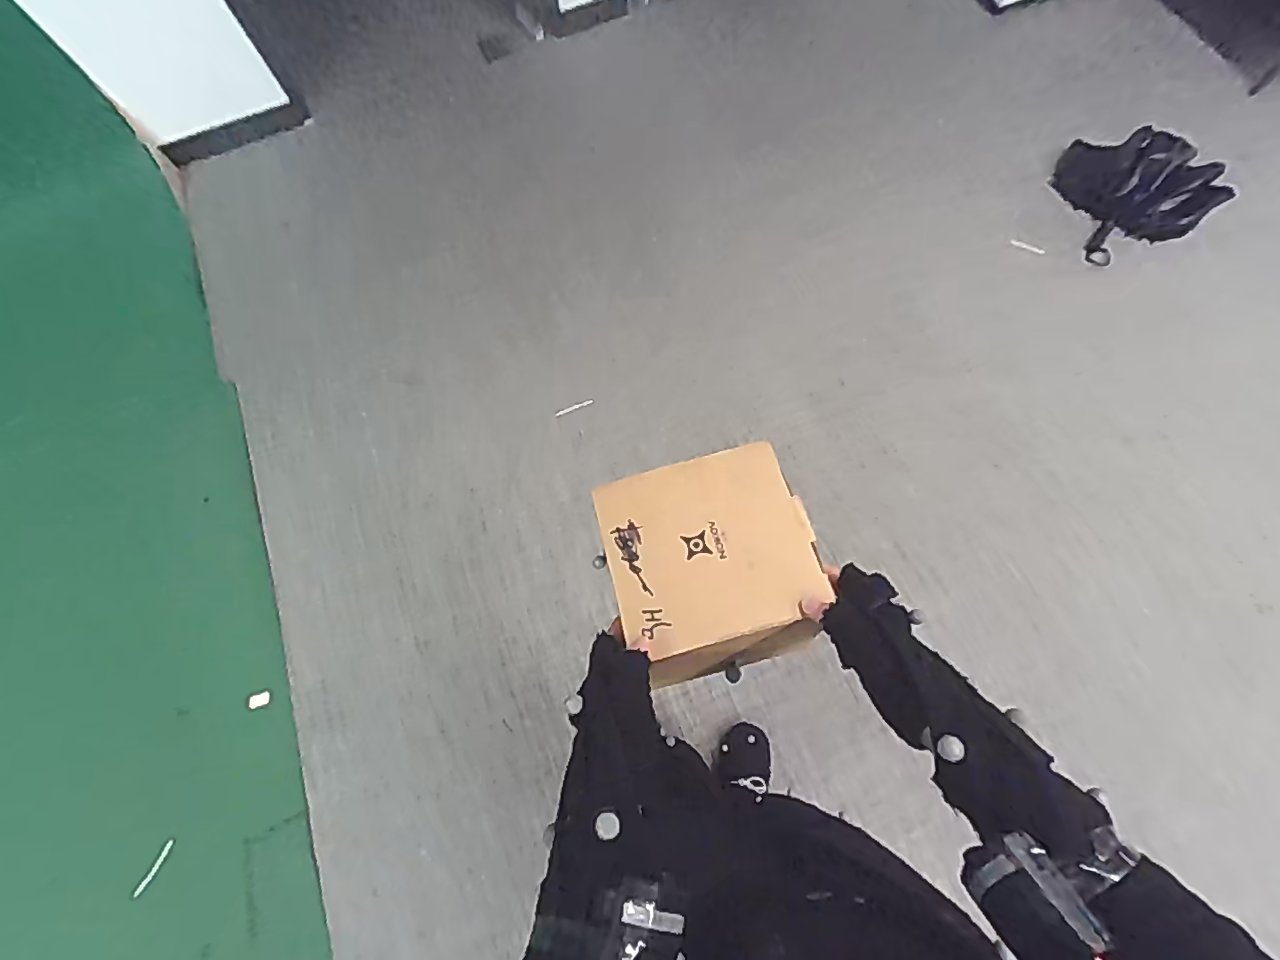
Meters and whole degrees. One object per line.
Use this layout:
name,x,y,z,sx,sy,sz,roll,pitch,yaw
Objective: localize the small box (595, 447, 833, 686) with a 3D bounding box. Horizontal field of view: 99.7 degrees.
small box,0.063,0.094,0.543,0.179,0.176,0.168,-14,60,-3
